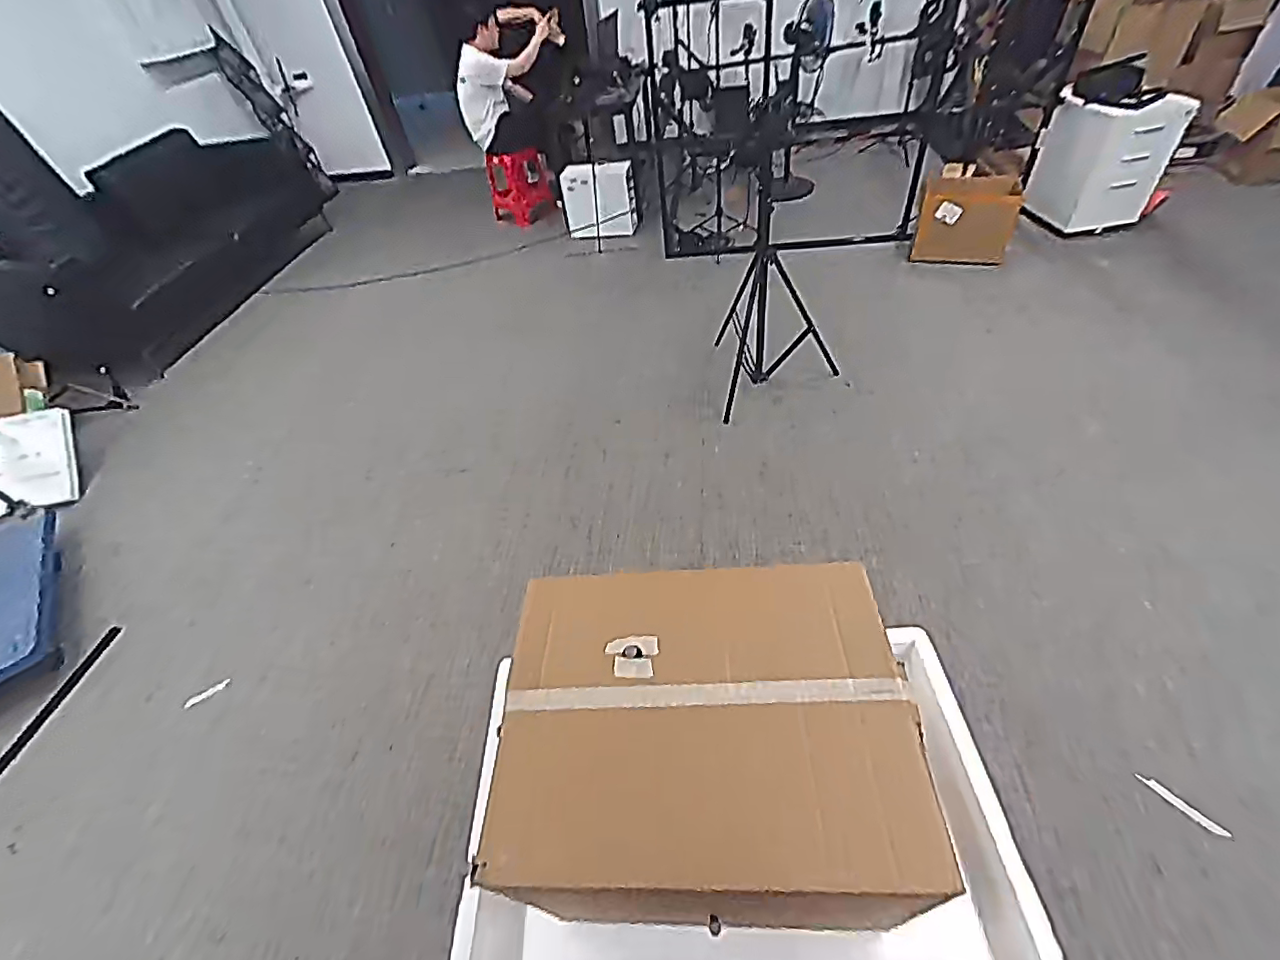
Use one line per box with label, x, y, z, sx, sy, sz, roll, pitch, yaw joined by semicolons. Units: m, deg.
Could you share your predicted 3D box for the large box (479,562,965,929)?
large box;0.082;0.326;0.646;0.408;0.320;0.320;-6;45;7
